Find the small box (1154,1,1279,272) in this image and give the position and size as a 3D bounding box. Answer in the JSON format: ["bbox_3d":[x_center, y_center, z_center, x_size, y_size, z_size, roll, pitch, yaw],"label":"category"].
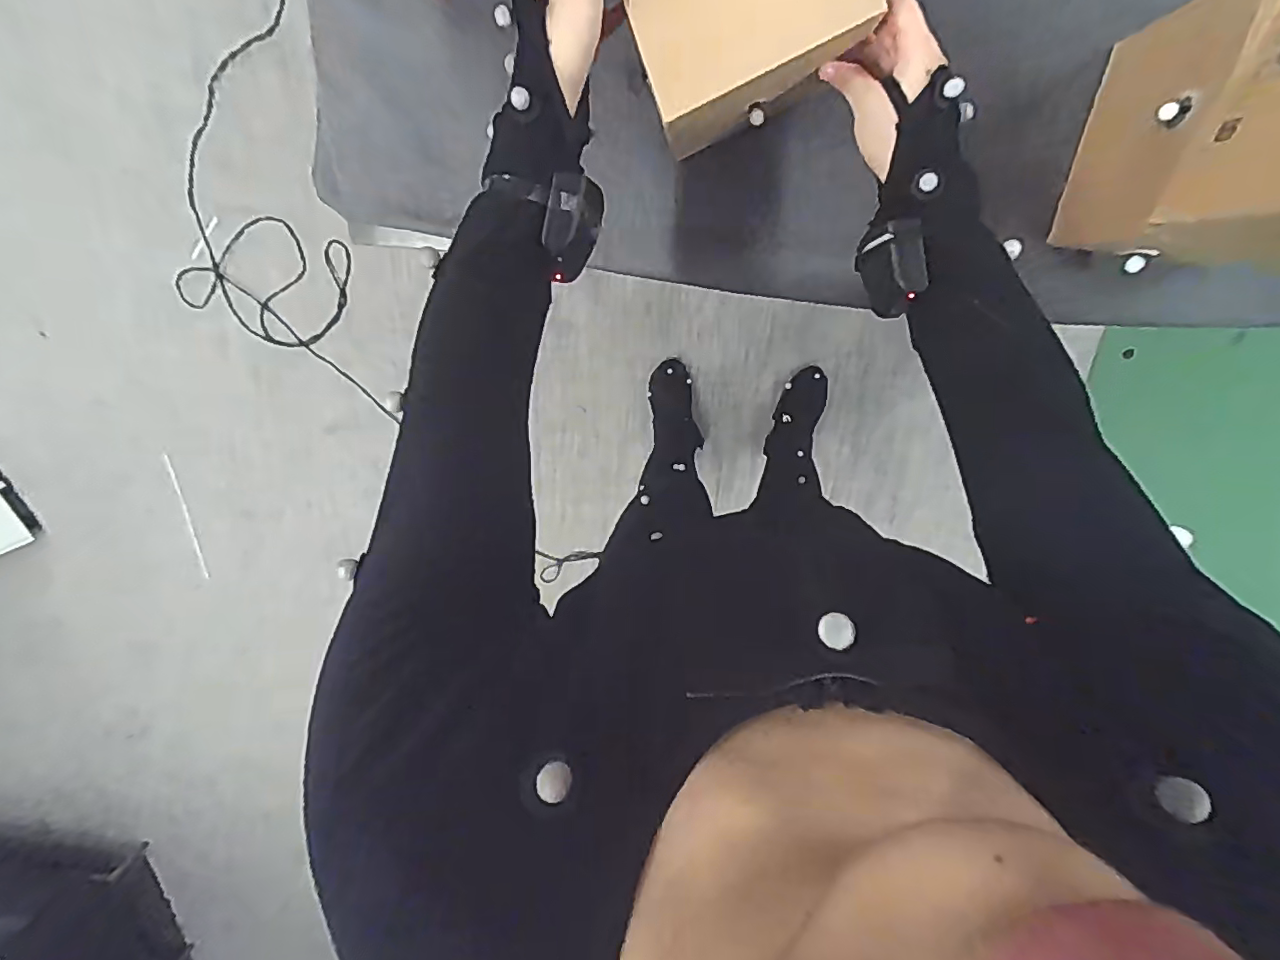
[{"bbox_3d":[0.475,-0.207,0.303,0.179,0.176,0.168,18,112,2],"label":"small box"}]

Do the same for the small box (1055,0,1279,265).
[{"bbox_3d":[0.497,-0.279,0.448,0.168,0.176,0.179,7,113,5],"label":"small box"}]
